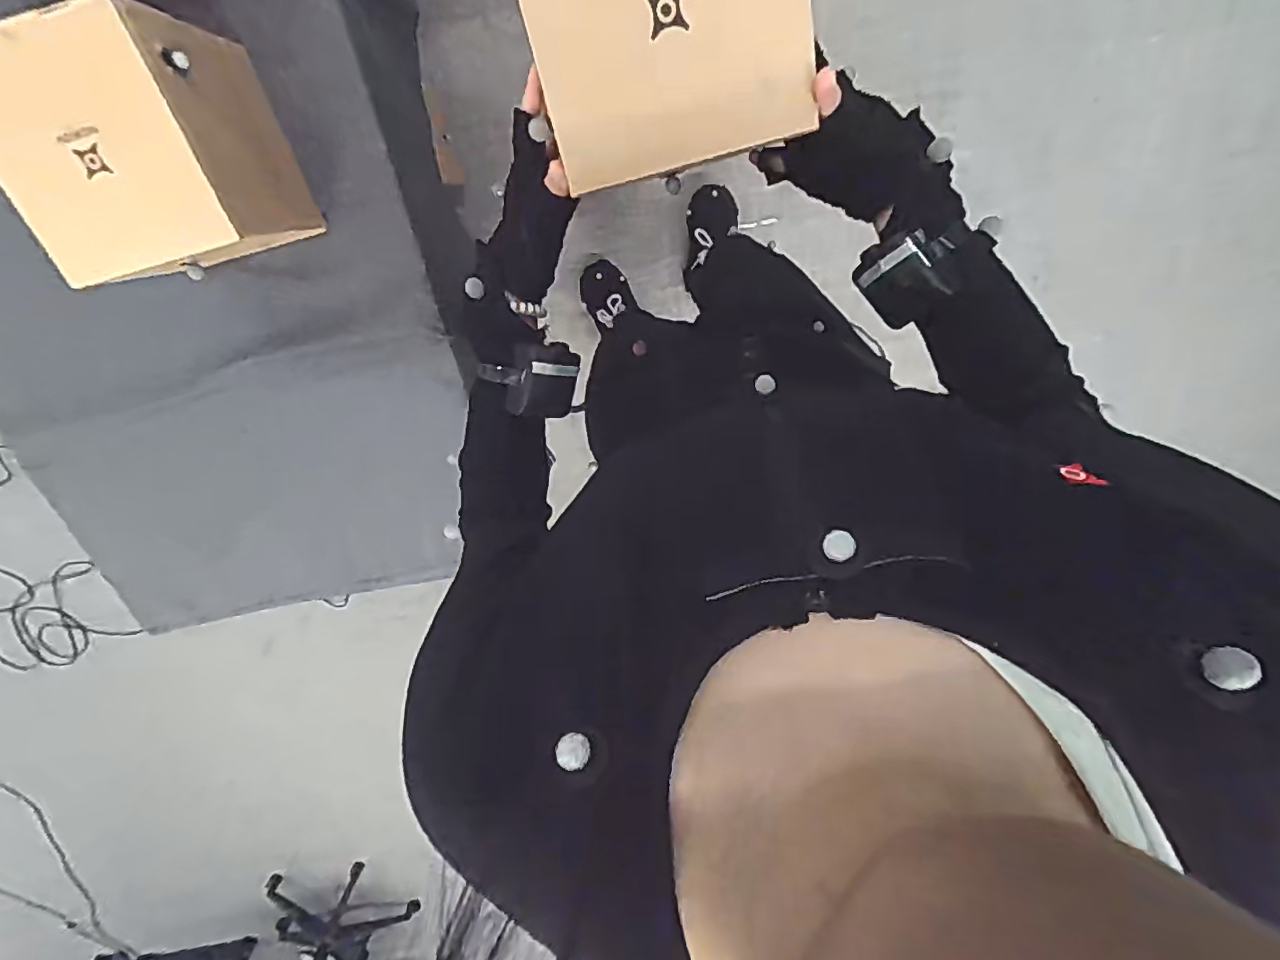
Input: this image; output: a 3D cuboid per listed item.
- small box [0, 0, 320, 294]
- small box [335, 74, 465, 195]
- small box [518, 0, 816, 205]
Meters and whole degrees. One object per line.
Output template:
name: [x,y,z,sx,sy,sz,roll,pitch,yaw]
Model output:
small box: [-0.447,-0.295,0.507,0.168,0.176,0.179,-14,117,4]
small box: [-0.480,-0.699,1.113,0.168,0.176,0.179,-11,118,2]
small box: [0.011,-0.308,0.379,0.168,0.176,0.179,-13,117,3]
